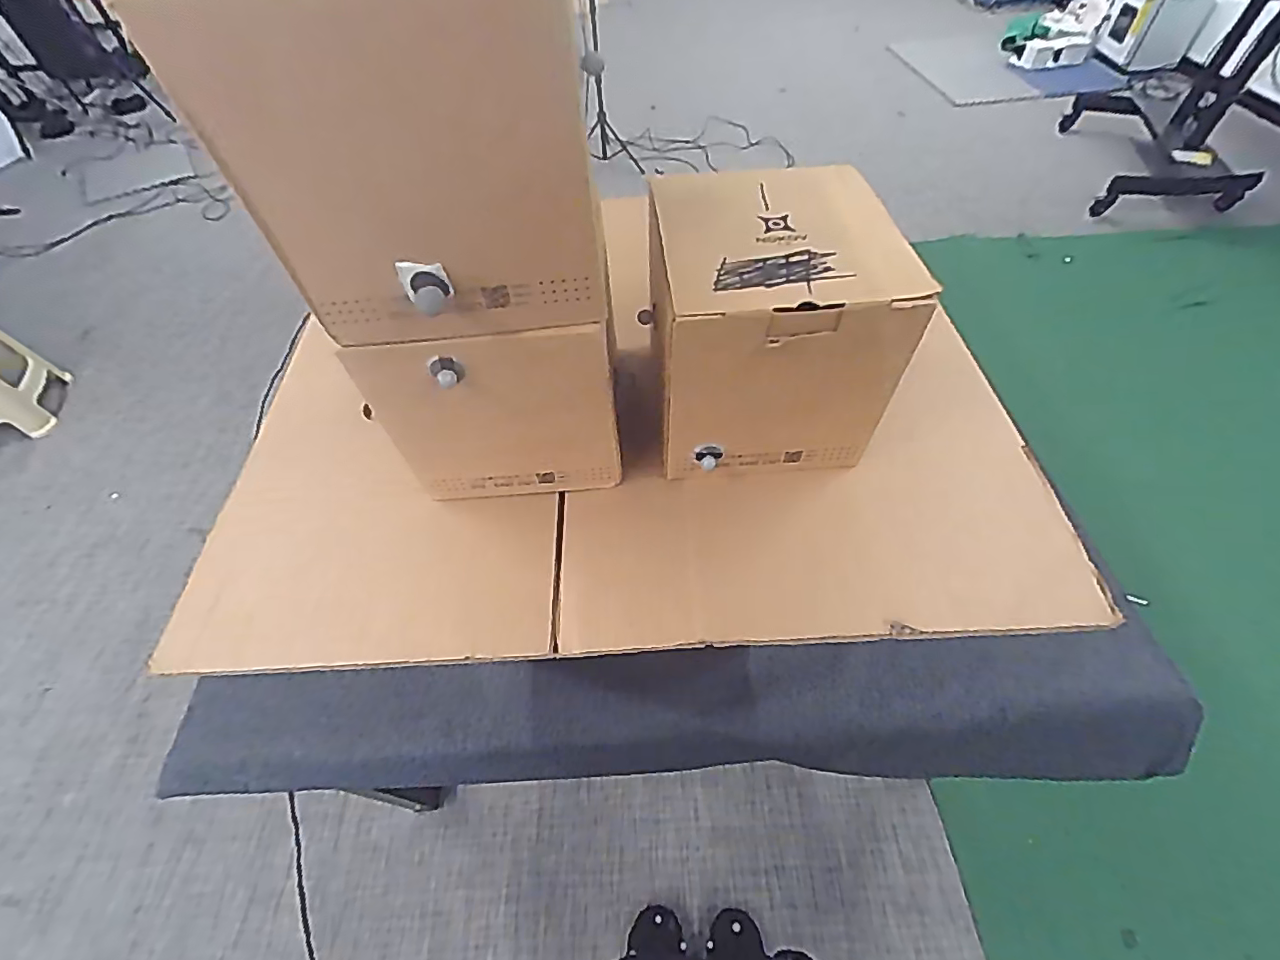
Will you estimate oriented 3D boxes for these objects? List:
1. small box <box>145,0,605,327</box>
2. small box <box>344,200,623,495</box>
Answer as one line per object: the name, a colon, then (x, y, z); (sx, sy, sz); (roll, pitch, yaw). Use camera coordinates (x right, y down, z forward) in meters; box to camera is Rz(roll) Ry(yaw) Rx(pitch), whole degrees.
small box: (-0.114, -0.214, 0.309); (0.168, 0.176, 0.179); (-7, 56, -1)
small box: (-0.104, -0.108, 0.452); (0.168, 0.176, 0.179); (-4, 53, 2)
